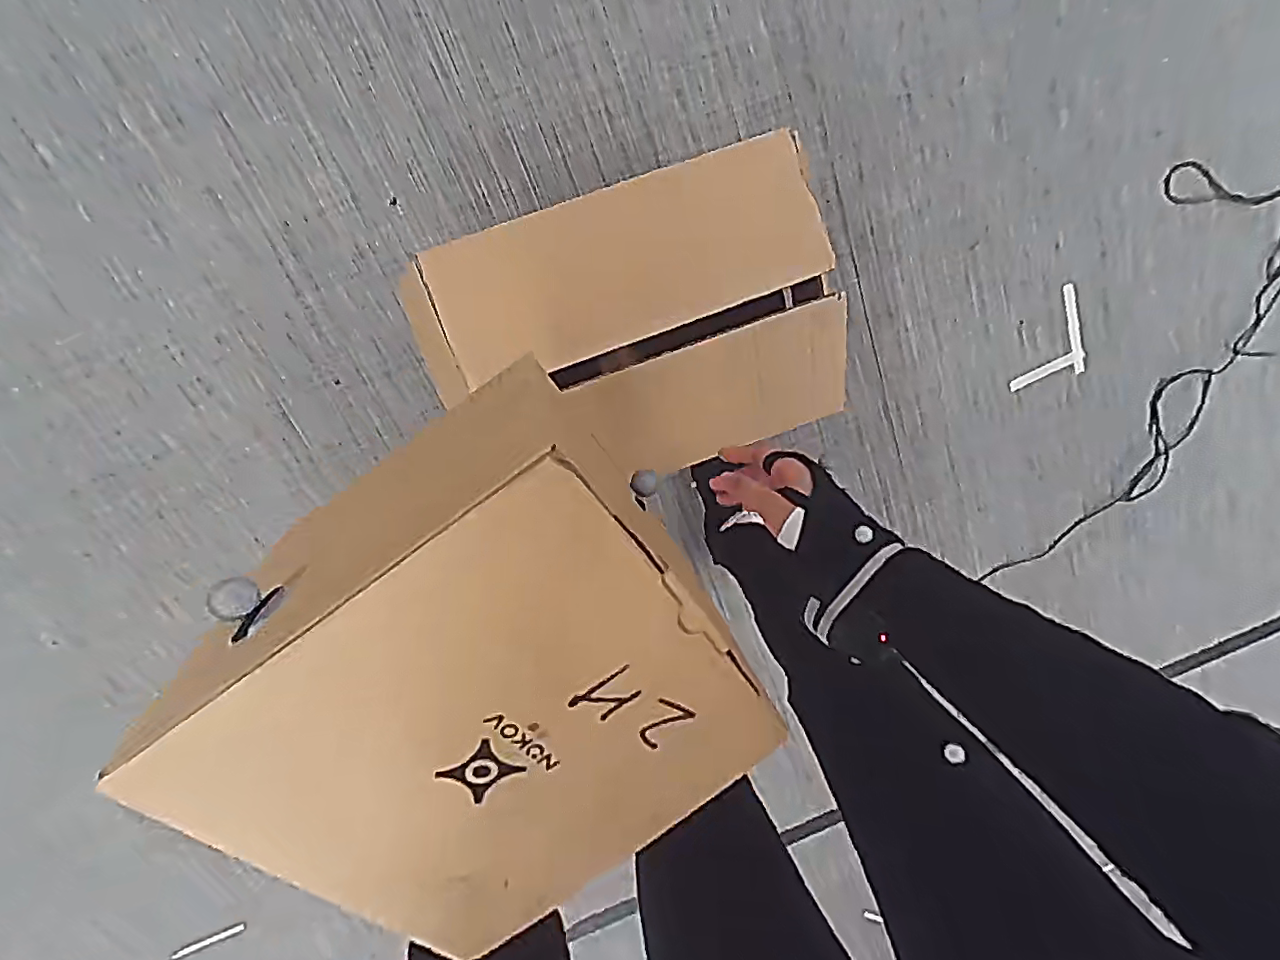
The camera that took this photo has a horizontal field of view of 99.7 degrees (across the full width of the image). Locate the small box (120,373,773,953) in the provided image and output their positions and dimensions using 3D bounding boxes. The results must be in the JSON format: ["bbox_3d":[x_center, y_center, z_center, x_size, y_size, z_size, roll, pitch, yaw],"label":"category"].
[{"bbox_3d":[-0.072,0.071,0.273,0.179,0.176,0.168,-36,116,1],"label":"small box"}]
